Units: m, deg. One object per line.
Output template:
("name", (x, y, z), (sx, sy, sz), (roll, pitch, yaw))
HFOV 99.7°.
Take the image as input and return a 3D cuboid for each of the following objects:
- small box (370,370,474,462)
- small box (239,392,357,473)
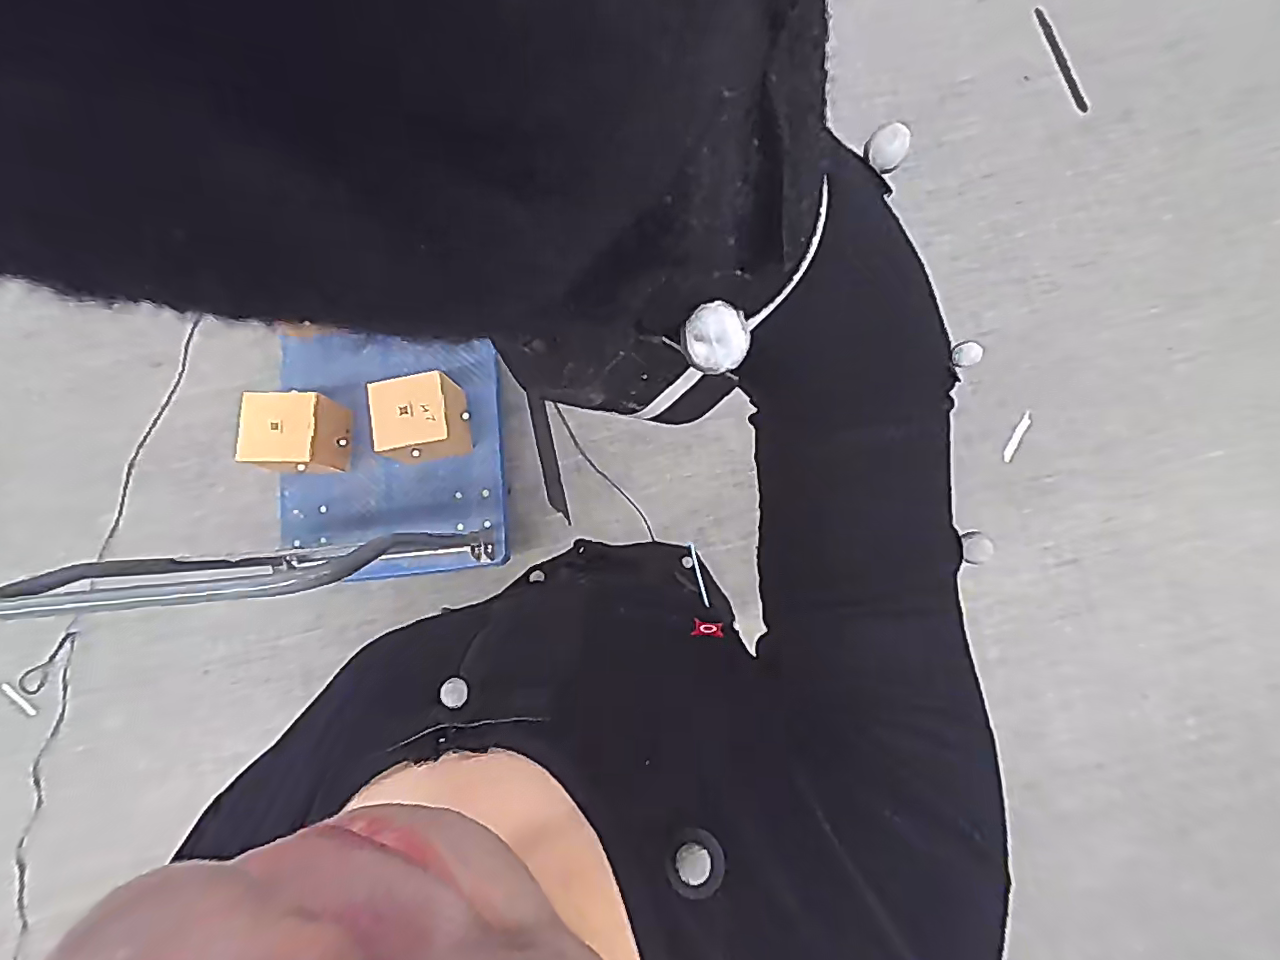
("small box", (-0.525, -0.149, 1.319), (0.179, 0.176, 0.168), (-11, 82, 1))
("small box", (-0.831, -0.112, 1.326), (0.179, 0.176, 0.168), (0, 81, 0))
